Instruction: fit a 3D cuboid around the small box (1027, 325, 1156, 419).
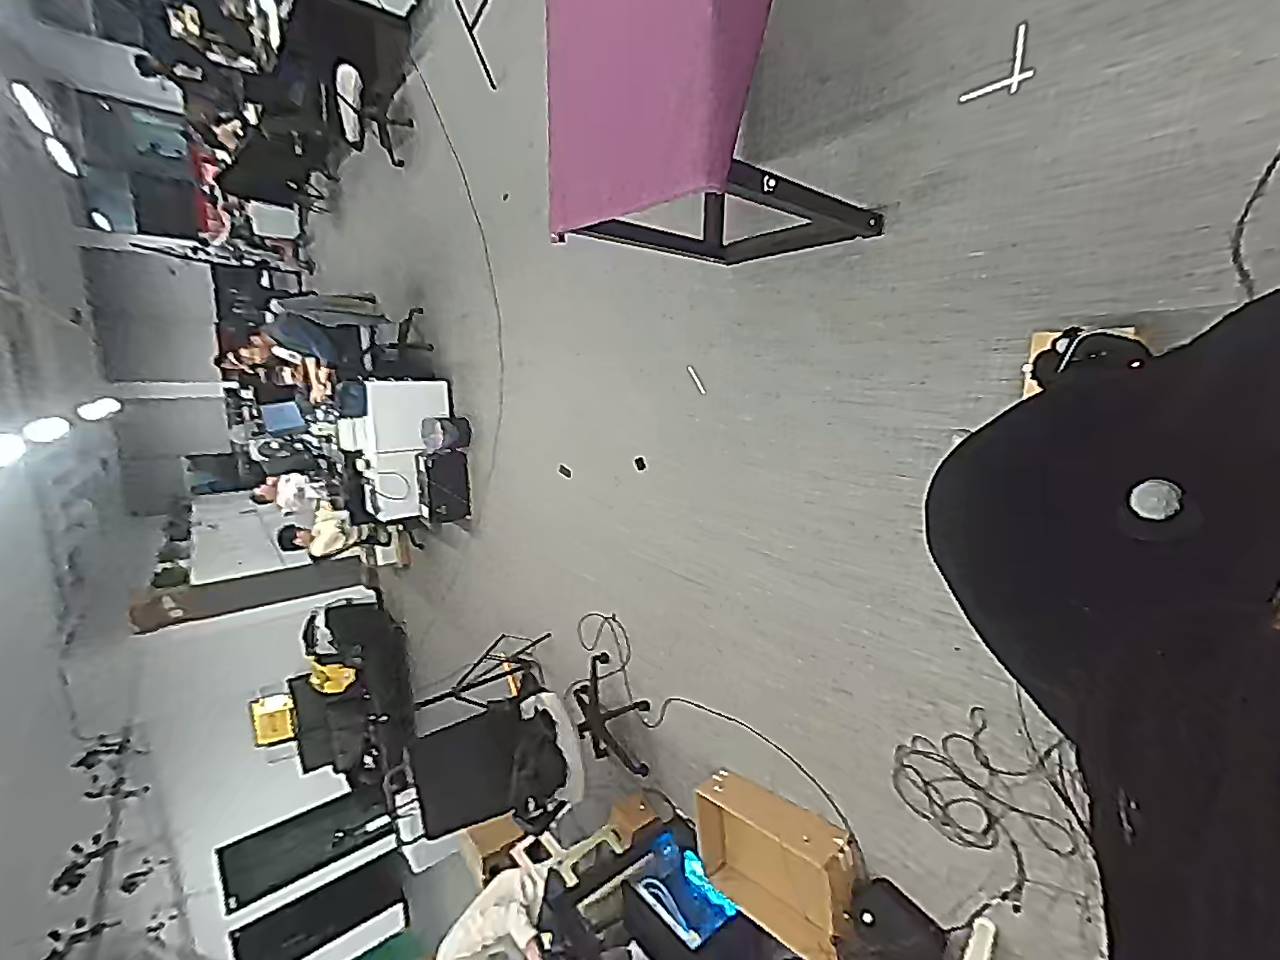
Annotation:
[{"bbox_3d":[0.947,-0.222,1.132,0.168,0.176,0.179,15,106,50],"label":"small box"}]
